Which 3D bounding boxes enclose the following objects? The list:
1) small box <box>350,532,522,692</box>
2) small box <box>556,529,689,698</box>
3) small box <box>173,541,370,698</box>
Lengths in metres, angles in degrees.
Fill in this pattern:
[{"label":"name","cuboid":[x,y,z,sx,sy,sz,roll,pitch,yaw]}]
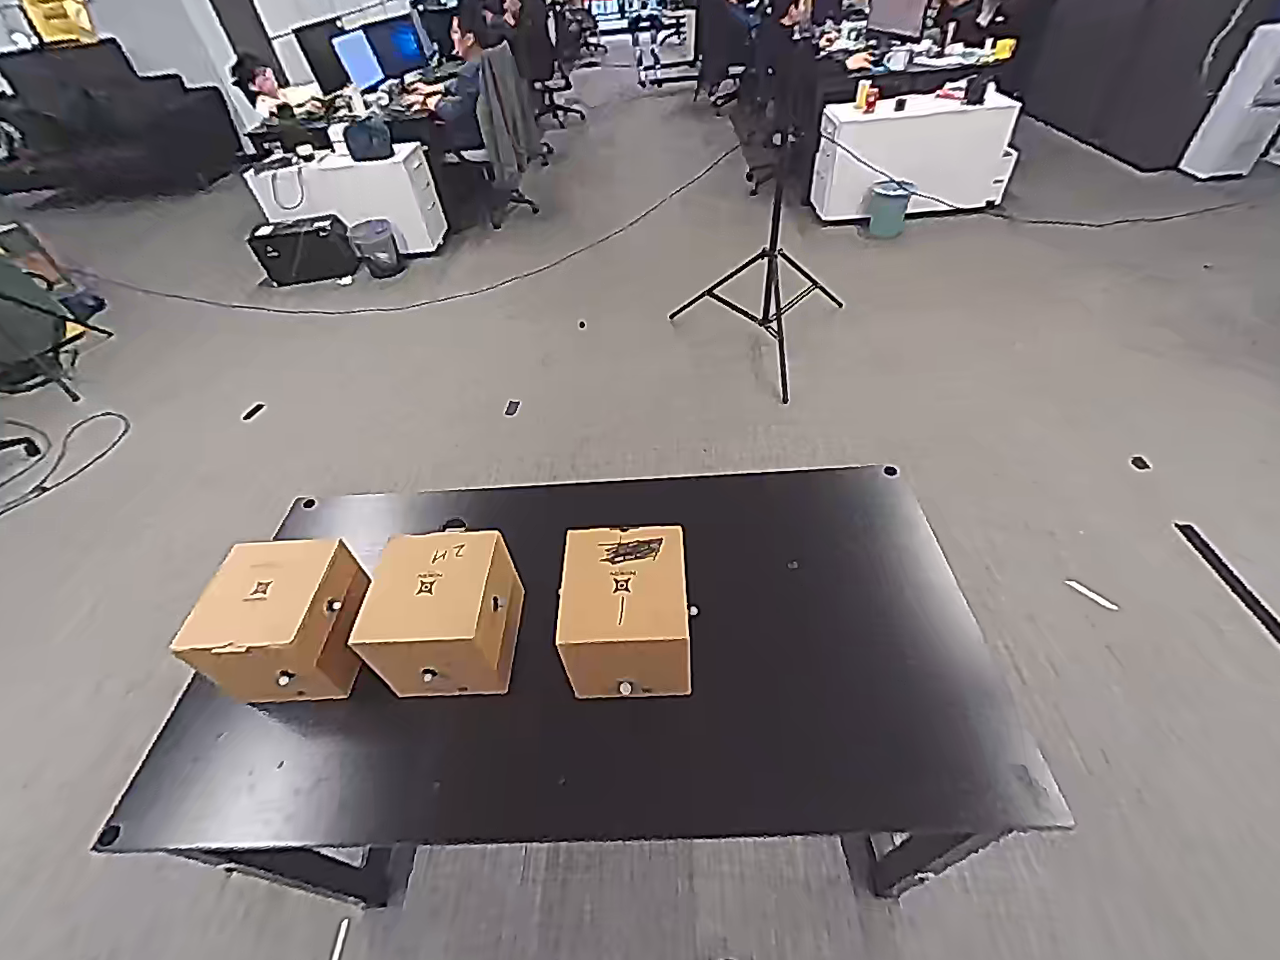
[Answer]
[{"label":"small box","cuboid":[-0.280,0.198,0.793,0.168,0.176,0.179,-3,45,3]},{"label":"small box","cuboid":[-0.017,0.191,0.772,0.168,0.176,0.179,-3,46,3]},{"label":"small box","cuboid":[-0.520,0.213,0.808,0.168,0.176,0.179,-3,44,1]}]
